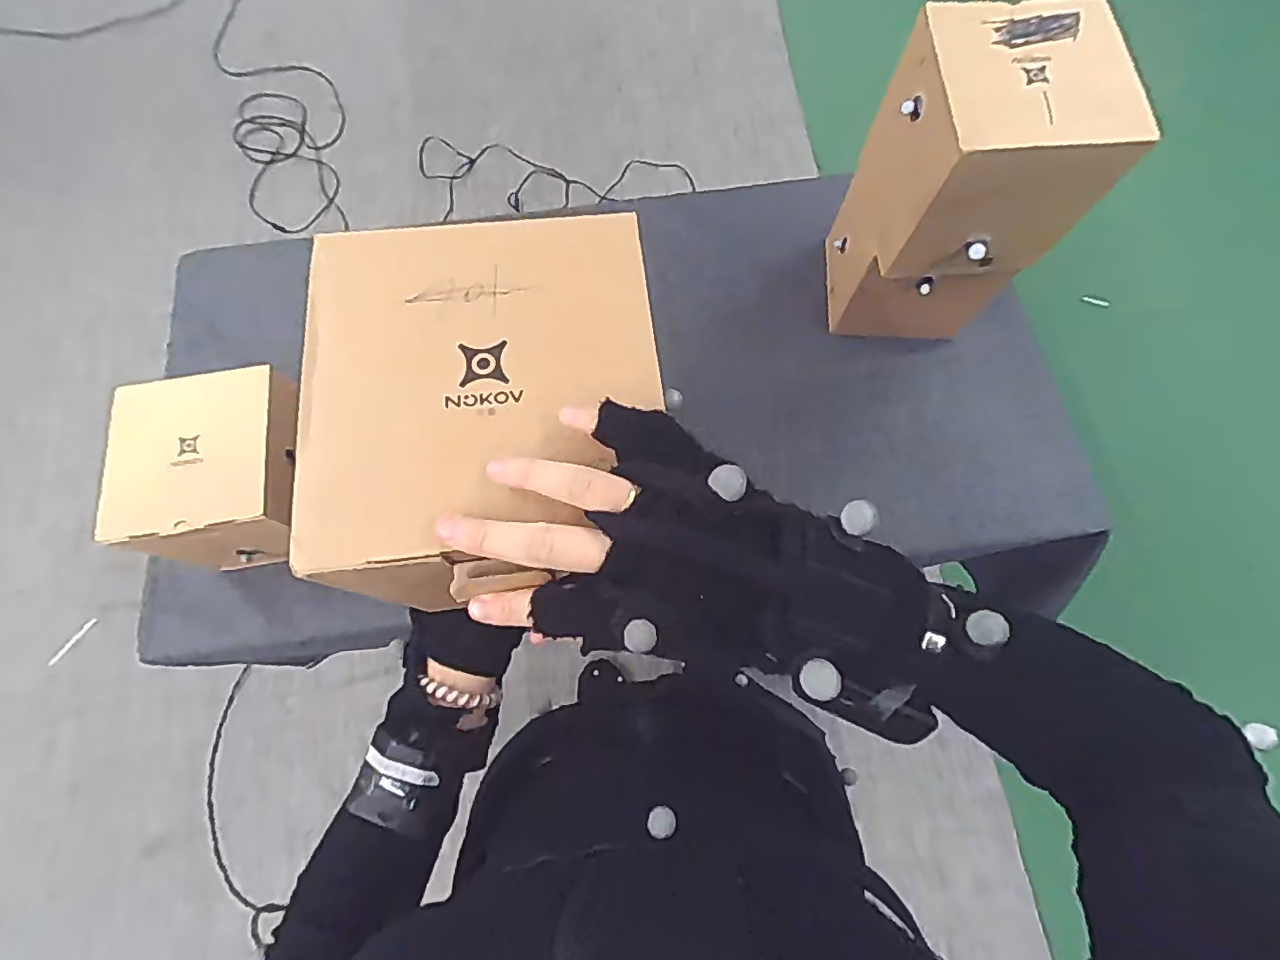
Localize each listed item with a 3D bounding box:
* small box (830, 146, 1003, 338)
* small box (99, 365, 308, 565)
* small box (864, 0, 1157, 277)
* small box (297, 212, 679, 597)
[{"bbox_3d":[0.356,-0.302,0.709,0.179,0.176,0.168,4,73,2],"label":"small box"},{"bbox_3d":[-0.461,-0.009,0.633,0.168,0.176,0.179,-9,73,-2],"label":"small box"},{"bbox_3d":[0.345,-0.333,0.547,0.168,0.176,0.179,-2,74,1],"label":"small box"},{"bbox_3d":[-0.073,-0.026,0.329,0.168,0.176,0.179,-6,72,-4],"label":"small box"}]
